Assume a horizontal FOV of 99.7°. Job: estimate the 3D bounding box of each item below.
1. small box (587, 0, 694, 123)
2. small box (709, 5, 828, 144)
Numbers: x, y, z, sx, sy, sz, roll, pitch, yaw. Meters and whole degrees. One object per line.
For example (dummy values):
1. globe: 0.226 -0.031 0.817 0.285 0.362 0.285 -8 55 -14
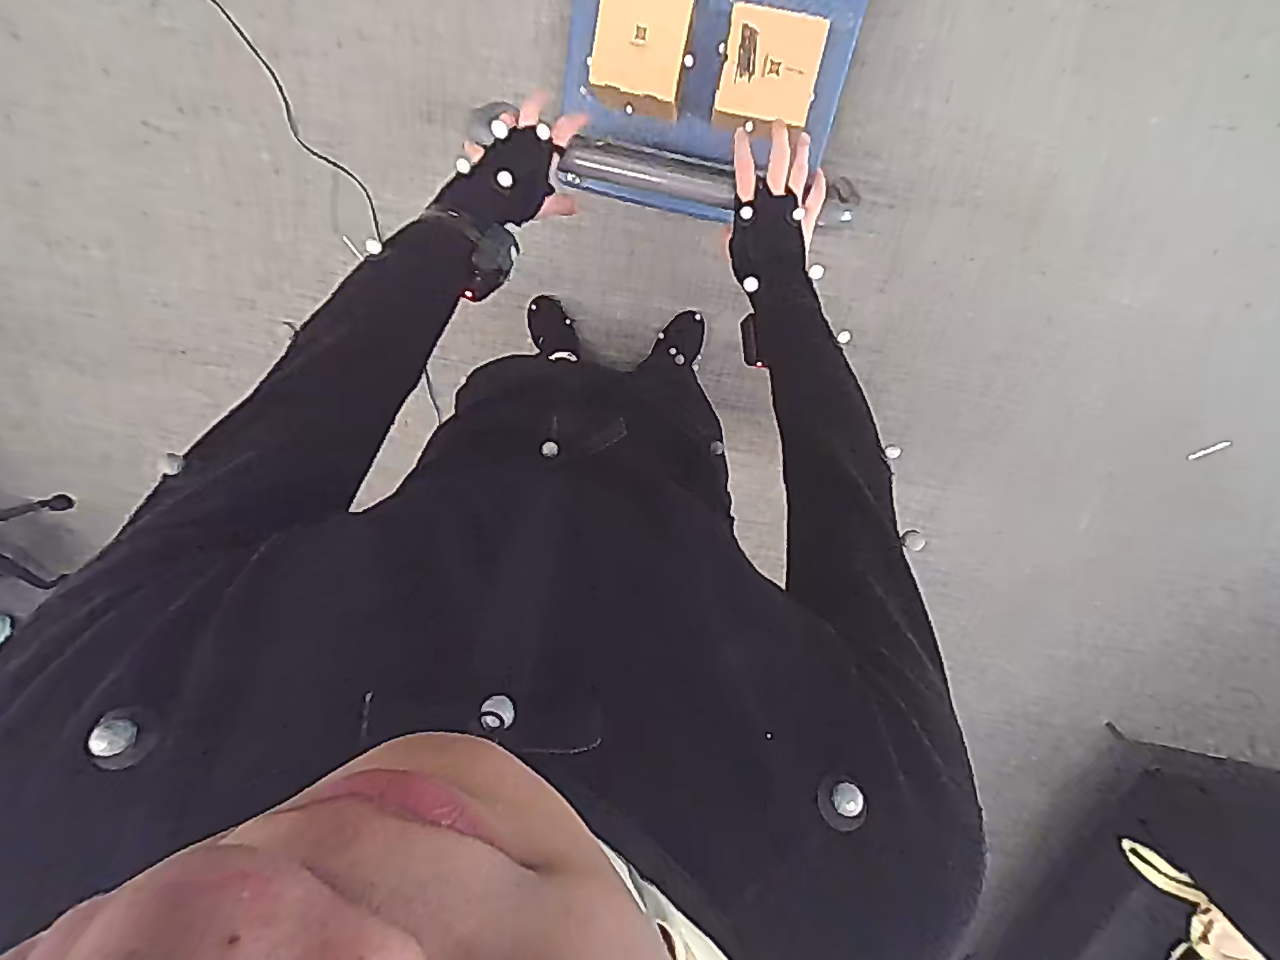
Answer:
1. small box: 0.002 -0.831 1.055 0.168 0.176 0.179 13 114 -1
2. small box: 0.238 -0.775 1.053 0.179 0.176 0.168 12 114 -1
